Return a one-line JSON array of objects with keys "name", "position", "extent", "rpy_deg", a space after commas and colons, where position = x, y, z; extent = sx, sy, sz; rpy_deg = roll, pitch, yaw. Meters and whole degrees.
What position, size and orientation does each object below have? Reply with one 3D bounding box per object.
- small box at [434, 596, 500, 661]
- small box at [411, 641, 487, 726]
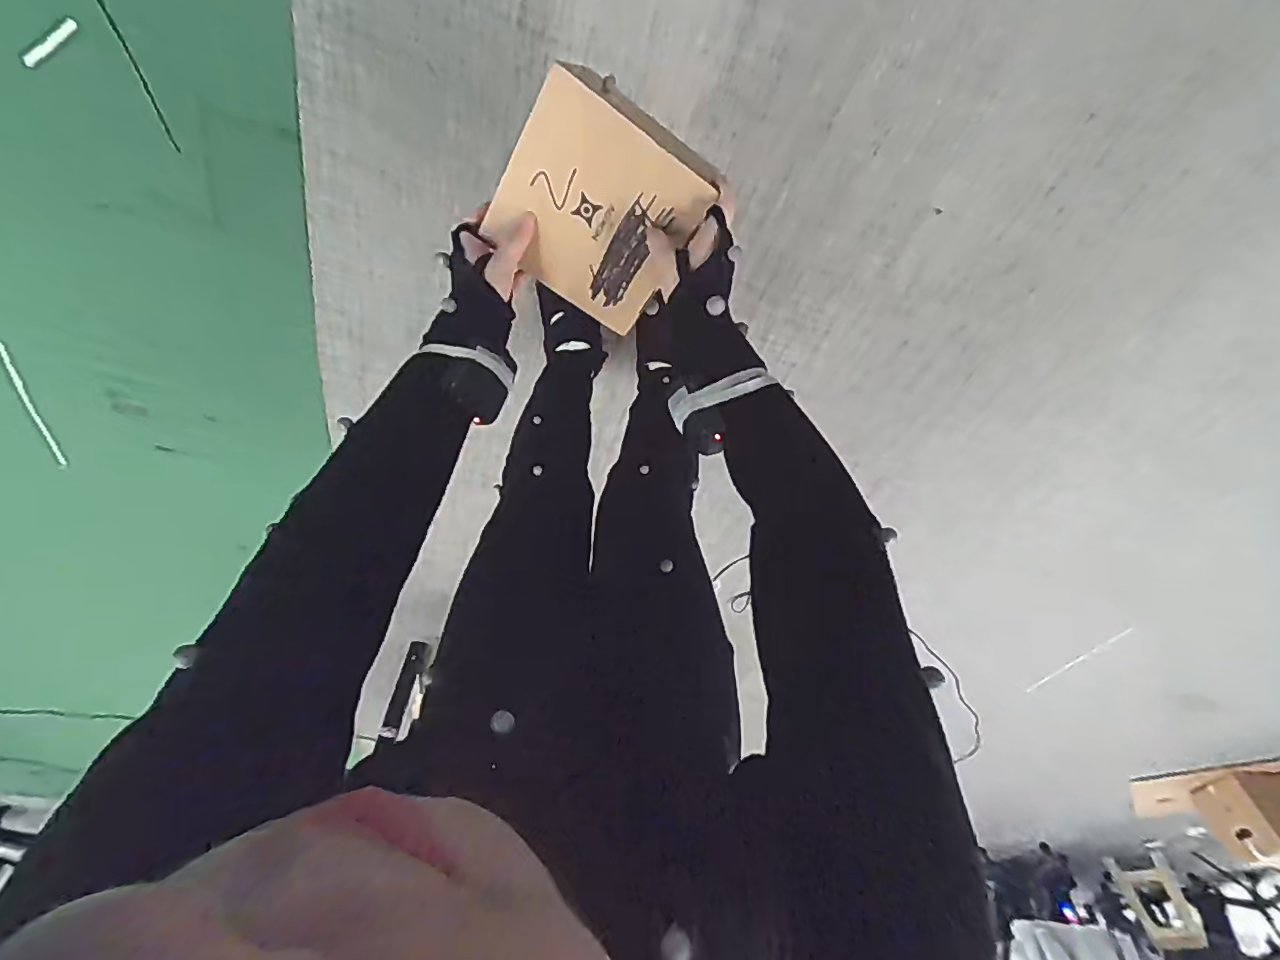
[{"name": "small box", "position": [-0.564, 0.501, 1.747], "extent": [0.168, 0.176, 0.179], "rpy_deg": [21, 131, -17]}, {"name": "small box", "position": [-0.568, 0.607, 1.620], "extent": [0.168, 0.176, 0.179], "rpy_deg": [18, 129, -14]}]
